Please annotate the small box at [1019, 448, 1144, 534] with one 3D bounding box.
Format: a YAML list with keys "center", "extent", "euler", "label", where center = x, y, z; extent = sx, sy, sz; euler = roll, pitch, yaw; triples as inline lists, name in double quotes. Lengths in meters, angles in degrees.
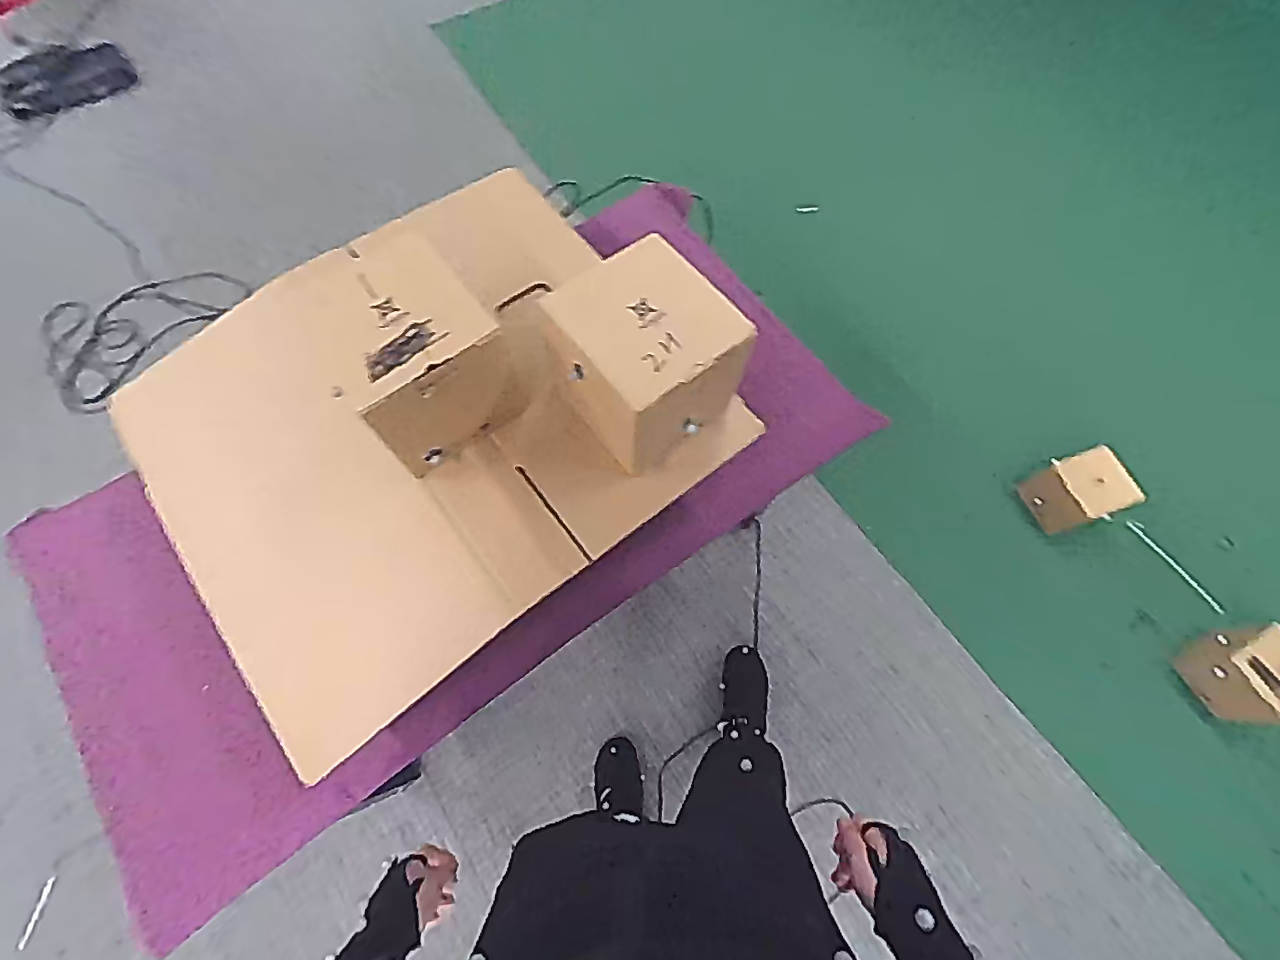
- center: [1.232, 0.035, 1.526]
  extent: [0.179, 0.176, 0.168]
  euler: [-20, 70, -6]
  label: "small box"

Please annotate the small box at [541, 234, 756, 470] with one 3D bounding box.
- center: [0.004, -0.143, 0.644]
  extent: [0.168, 0.176, 0.179]
  euler: [-36, 74, -15]
  label: "small box"

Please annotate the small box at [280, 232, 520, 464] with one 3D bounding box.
- center: [-0.261, -0.139, 0.632]
  extent: [0.168, 0.176, 0.179]
  euler: [-36, 73, -16]
  label: "small box"
